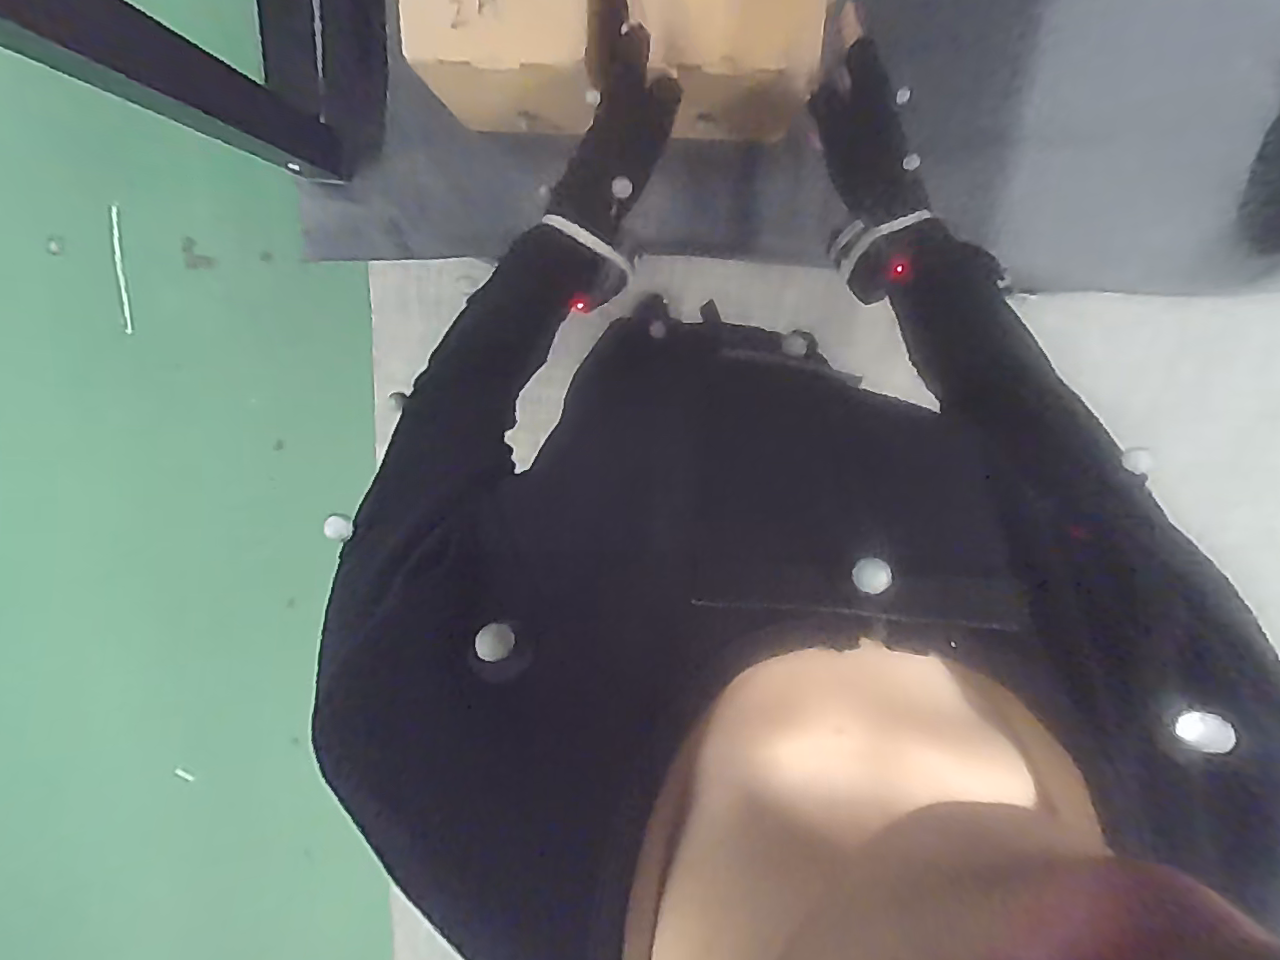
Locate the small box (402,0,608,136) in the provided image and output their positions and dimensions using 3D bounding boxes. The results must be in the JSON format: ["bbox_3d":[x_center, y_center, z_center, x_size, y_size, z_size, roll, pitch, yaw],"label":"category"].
[{"bbox_3d":[-0.122,-0.475,0.538,0.168,0.176,0.179,3,104,1],"label":"small box"}]

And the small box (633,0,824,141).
[{"bbox_3d":[0.082,-0.468,0.536,0.168,0.176,0.179,3,104,2],"label":"small box"}]
